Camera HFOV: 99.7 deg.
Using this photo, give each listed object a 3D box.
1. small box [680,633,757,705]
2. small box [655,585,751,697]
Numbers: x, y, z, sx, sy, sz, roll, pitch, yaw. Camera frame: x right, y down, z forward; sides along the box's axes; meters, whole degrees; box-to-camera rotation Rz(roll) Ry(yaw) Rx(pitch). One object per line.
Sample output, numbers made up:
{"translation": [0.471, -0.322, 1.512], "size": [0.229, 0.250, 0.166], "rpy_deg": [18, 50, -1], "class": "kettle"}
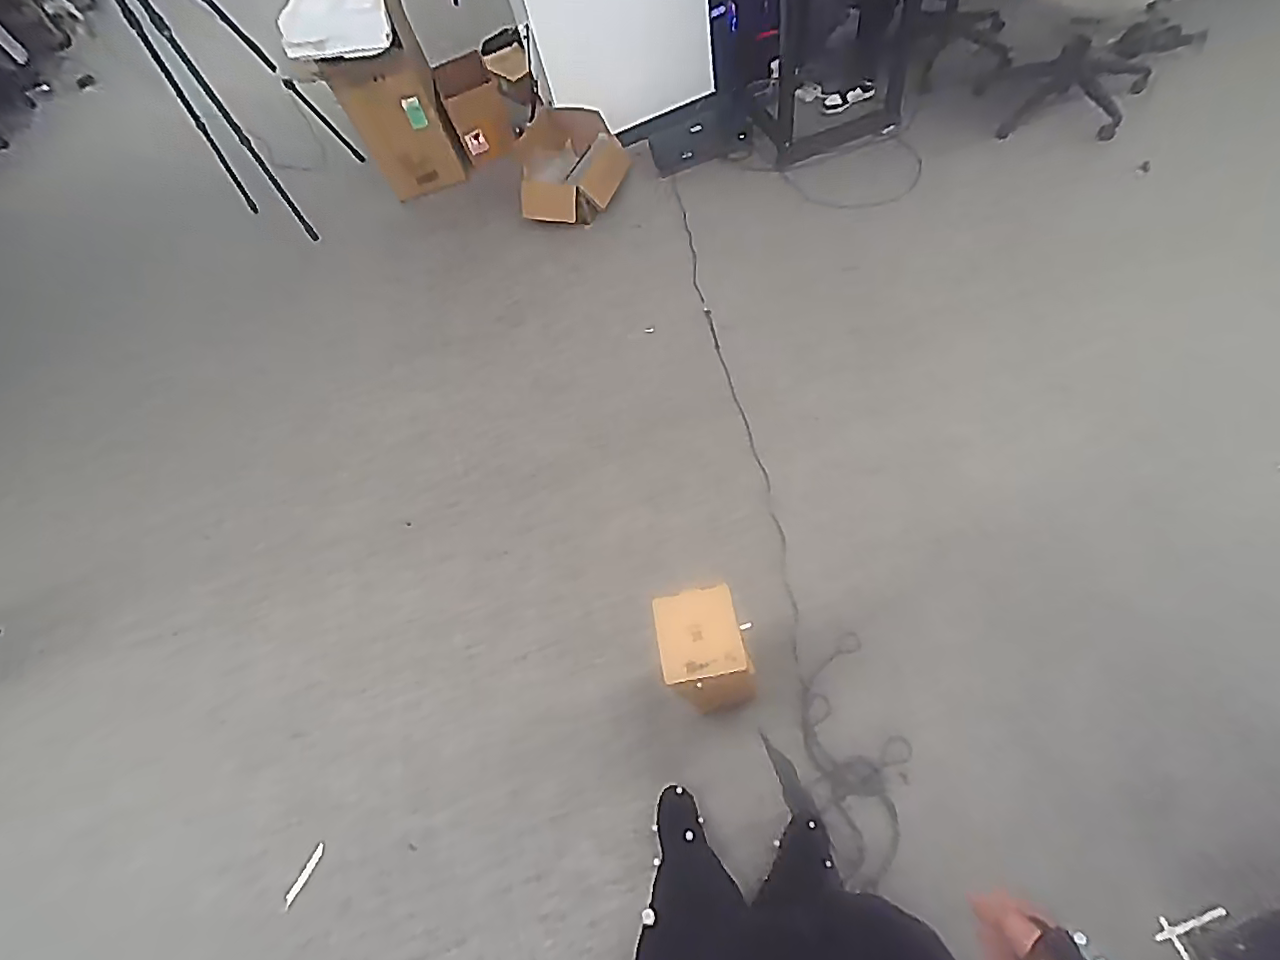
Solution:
{"translation": [0.170, 0.422, 1.288], "size": [0.179, 0.176, 0.168], "rpy_deg": [-19, 58, 2], "class": "small box"}
{"translation": [0.135, 0.345, 1.148], "size": [0.168, 0.176, 0.179], "rpy_deg": [-13, 58, 6], "class": "small box"}
